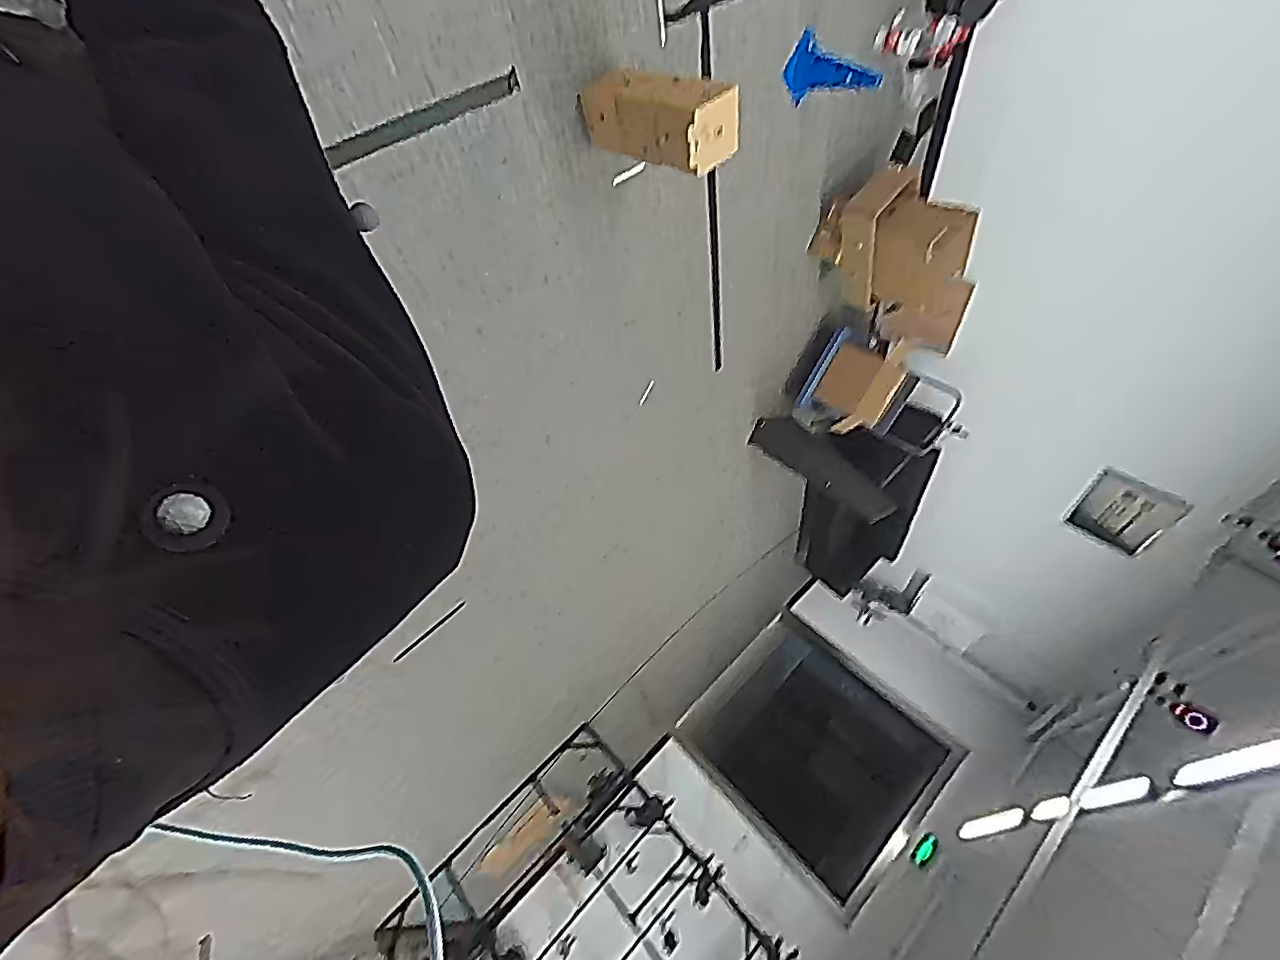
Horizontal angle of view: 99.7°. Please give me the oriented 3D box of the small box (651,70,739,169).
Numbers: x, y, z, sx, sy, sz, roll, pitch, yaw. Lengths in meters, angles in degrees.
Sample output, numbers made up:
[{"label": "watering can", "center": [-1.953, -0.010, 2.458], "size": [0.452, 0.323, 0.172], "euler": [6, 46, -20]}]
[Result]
[{"label": "small box", "center": [0.153, -0.998, 1.489], "size": [0.179, 0.176, 0.168], "euler": [-40, 148, -18]}]

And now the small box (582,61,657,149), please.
[{"label": "small box", "center": [-0.060, -1.166, 1.680], "size": [0.179, 0.176, 0.168], "euler": [-43, 148, -16]}]
